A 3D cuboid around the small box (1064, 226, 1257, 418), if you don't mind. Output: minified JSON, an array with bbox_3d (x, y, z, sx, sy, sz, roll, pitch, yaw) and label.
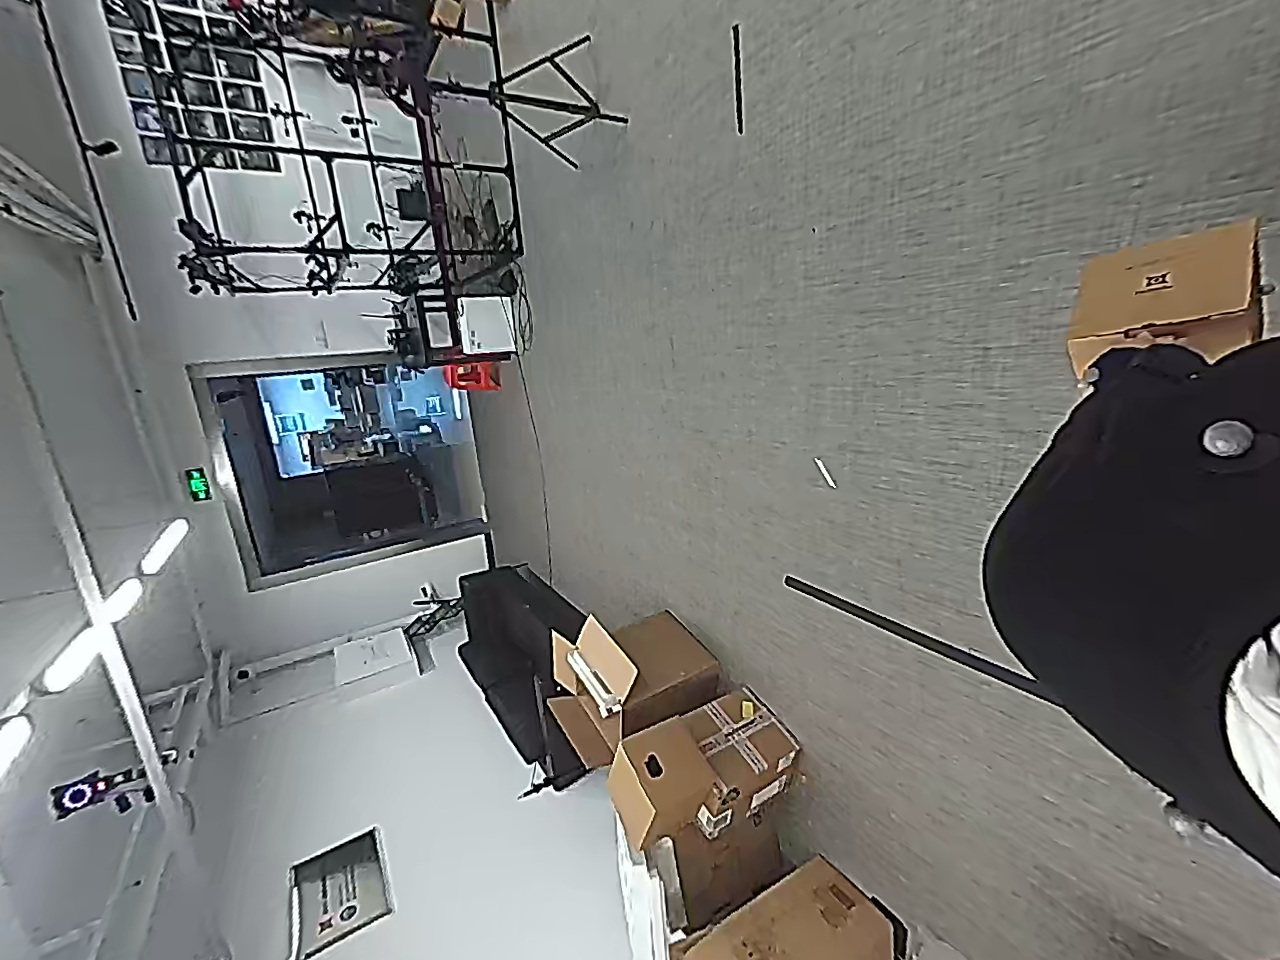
[{"bbox_3d":[0.712,-0.198,0.737,0.168,0.179,0.176,0,139,50],"label":"small box"}]
